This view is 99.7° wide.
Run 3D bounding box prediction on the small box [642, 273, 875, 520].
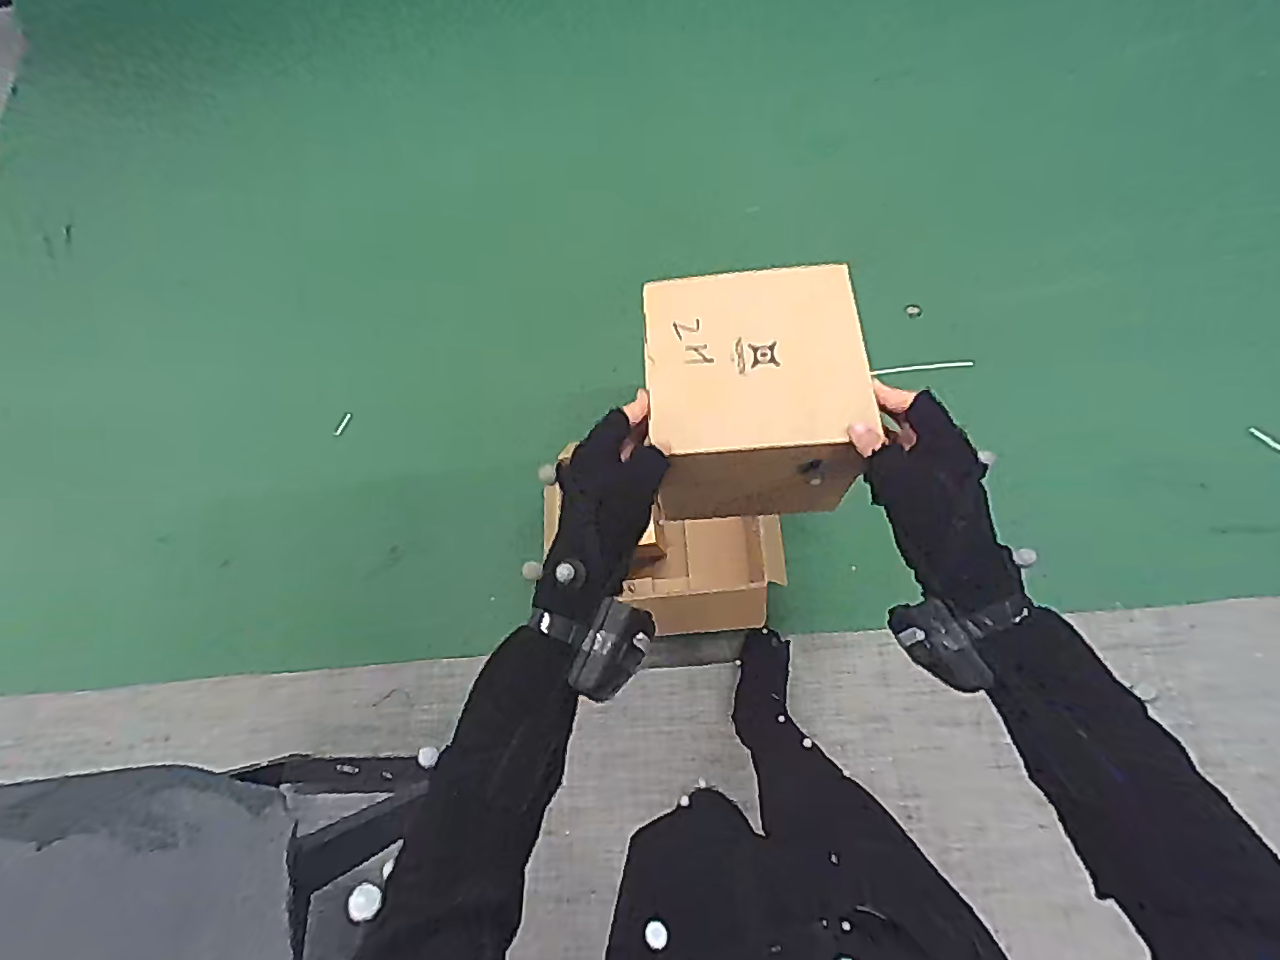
[{"bbox_3d":[0.098,-0.066,0.512,0.179,0.176,0.168,-4,68,6],"label":"small box"}]
